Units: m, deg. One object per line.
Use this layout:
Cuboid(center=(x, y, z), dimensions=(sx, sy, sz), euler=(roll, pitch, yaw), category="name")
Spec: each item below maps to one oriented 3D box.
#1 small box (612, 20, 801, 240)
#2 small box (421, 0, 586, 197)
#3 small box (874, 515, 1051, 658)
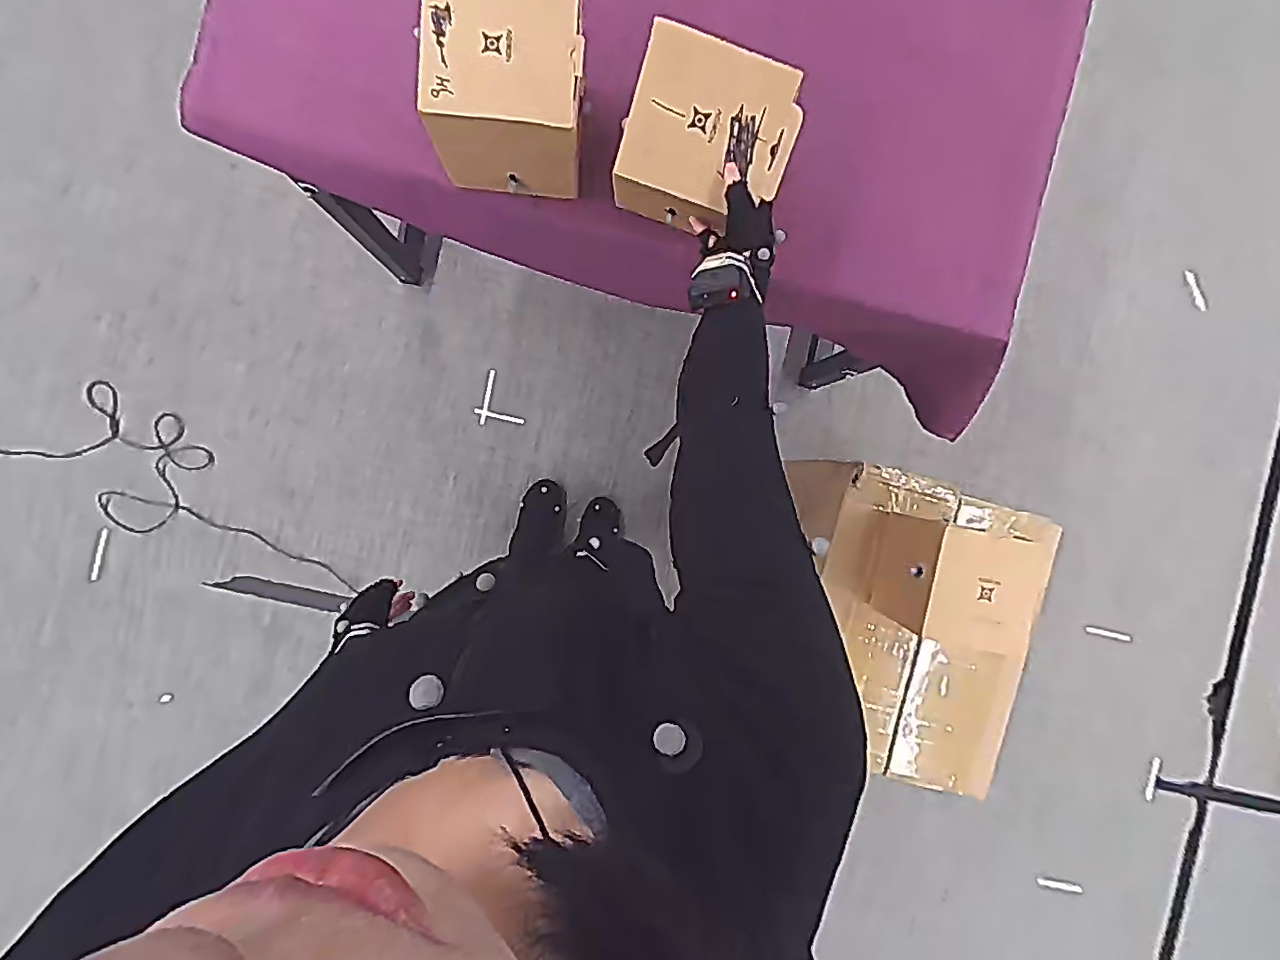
Cuboid(center=(0.073, -0.422, 0.691), dimensions=(0.179, 0.176, 0.168), euler=(17, 104, -5), category="small box")
Cuboid(center=(-0.162, -0.485, 0.686), dimensions=(0.179, 0.176, 0.168), euler=(3, 90, -7), category="small box")
Cuboid(center=(0.500, 0.158, 0.864), dimensions=(0.168, 0.176, 0.179), euler=(11, 92, -3), category="small box")
